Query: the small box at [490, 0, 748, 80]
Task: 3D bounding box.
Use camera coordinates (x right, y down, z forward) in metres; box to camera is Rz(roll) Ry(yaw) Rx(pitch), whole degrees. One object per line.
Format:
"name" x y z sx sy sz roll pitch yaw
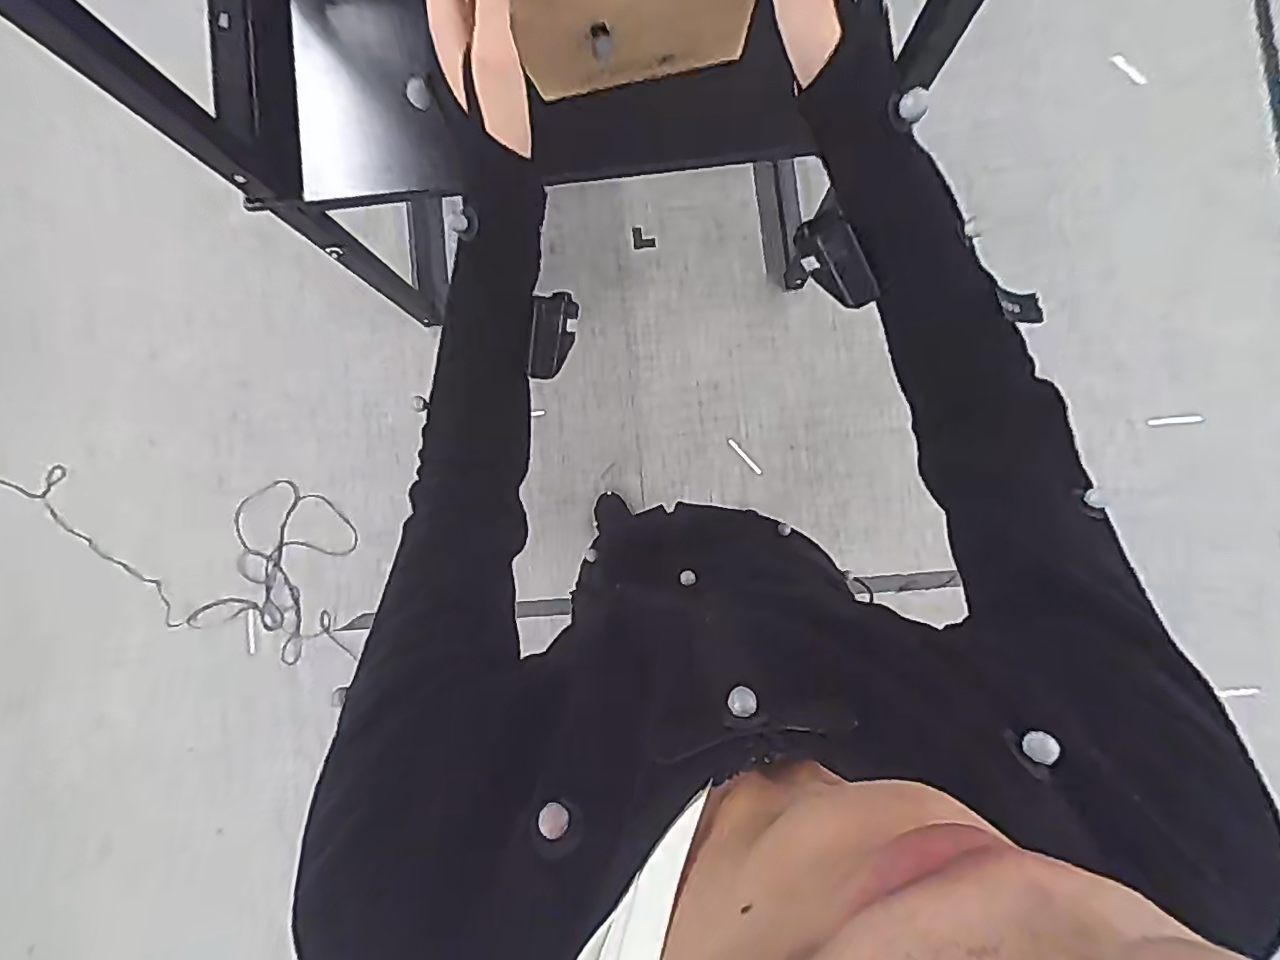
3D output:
"small box" -0.017 -0.389 0.341 0.168 0.176 0.179 -8 105 6
